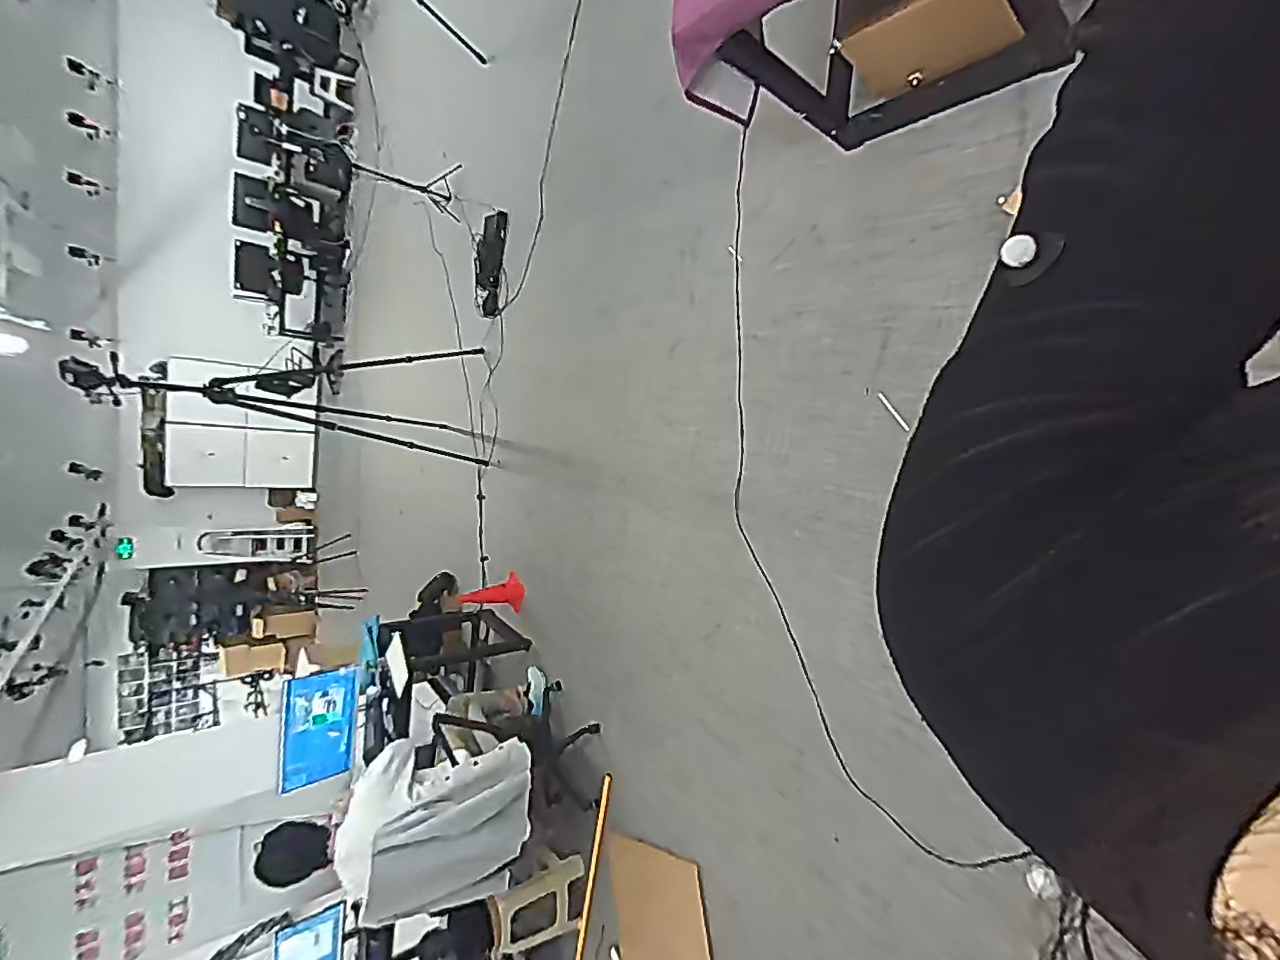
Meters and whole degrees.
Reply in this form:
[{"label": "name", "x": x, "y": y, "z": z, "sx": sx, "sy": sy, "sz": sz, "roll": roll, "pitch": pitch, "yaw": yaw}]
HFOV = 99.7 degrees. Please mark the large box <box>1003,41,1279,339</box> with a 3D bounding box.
[{"label": "large box", "x": 1.011, "y": -0.518, "z": 1.003, "sx": 0.320, "sy": 0.320, "sz": 0.408, "roll": -56, "pitch": 48, "yaw": 32}]
